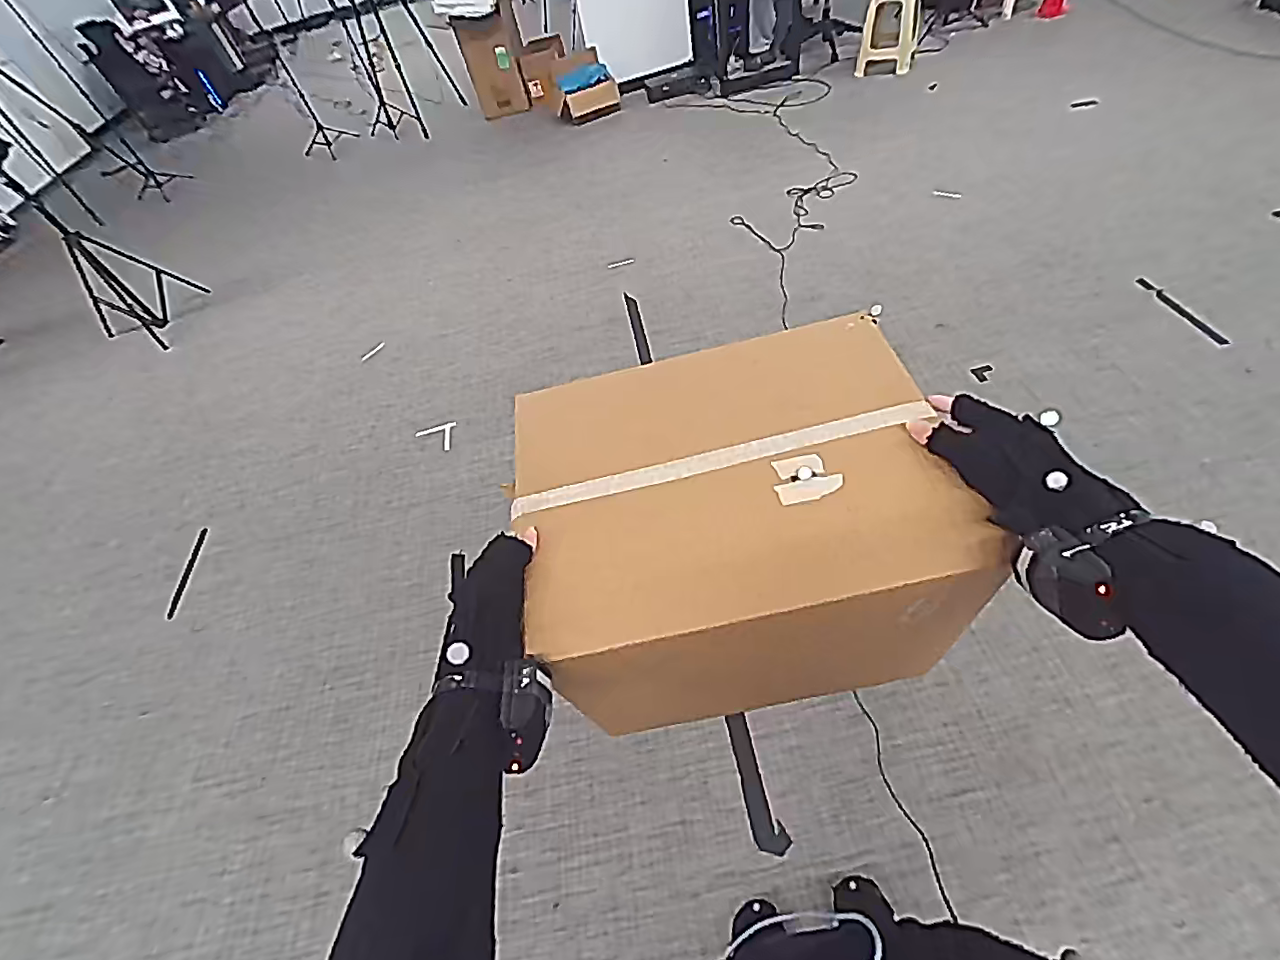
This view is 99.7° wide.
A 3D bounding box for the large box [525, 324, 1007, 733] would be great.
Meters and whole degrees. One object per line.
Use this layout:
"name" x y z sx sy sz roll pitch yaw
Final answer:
"large box" 0.107 0.073 0.650 0.408 0.320 0.320 -13 54 2
